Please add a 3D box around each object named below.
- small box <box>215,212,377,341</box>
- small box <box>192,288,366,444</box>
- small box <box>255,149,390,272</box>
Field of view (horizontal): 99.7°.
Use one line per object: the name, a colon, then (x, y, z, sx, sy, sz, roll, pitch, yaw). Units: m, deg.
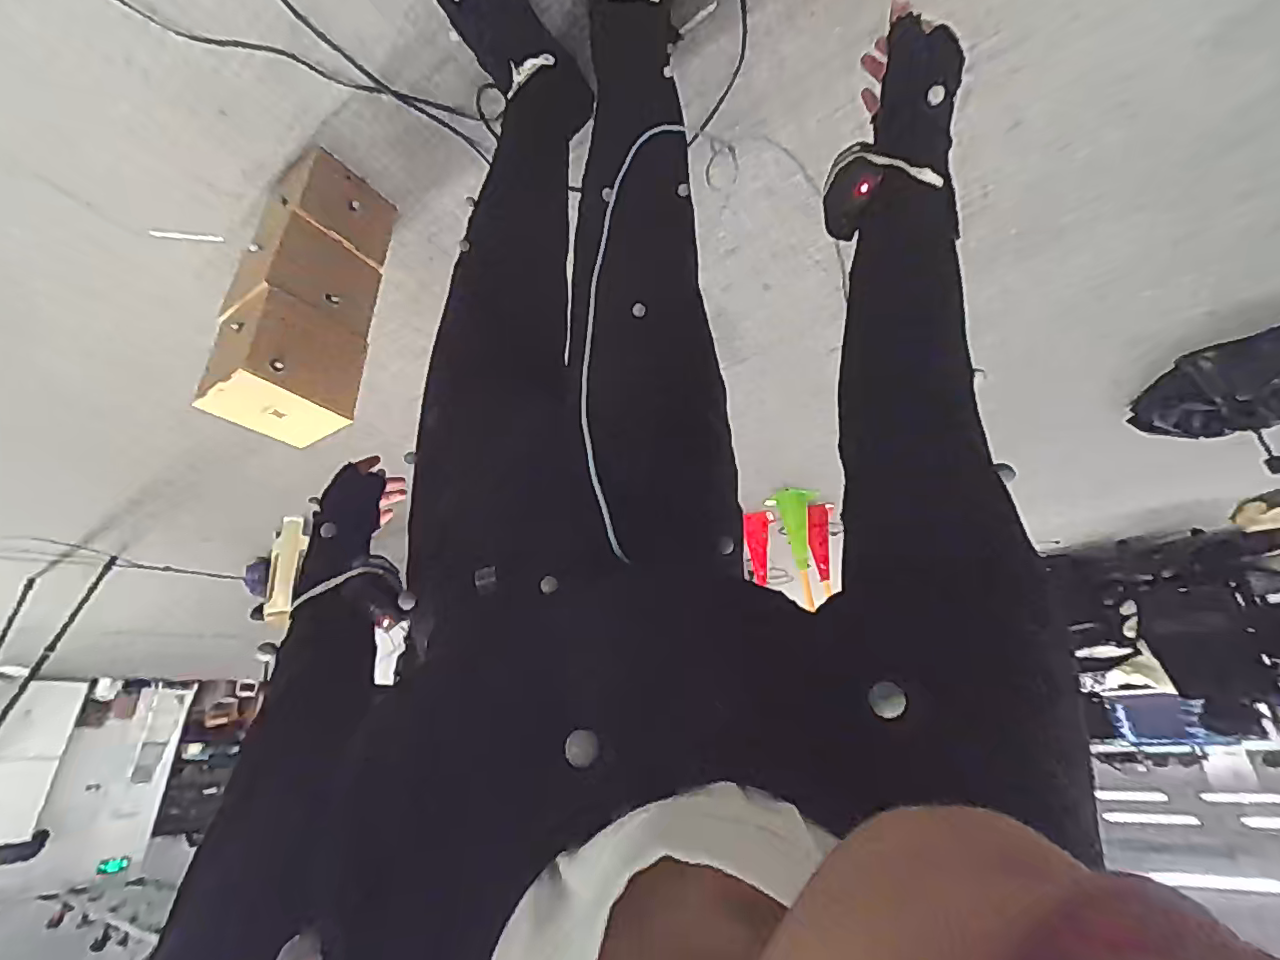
small box: (-0.608, -0.337, 0.977, 0.168, 0.176, 0.179, -16, 151, 28)
small box: (-0.597, -0.187, 0.916, 0.168, 0.176, 0.179, -16, 151, 28)
small box: (-0.608, -0.488, 1.044, 0.179, 0.176, 0.168, -17, 151, 28)
